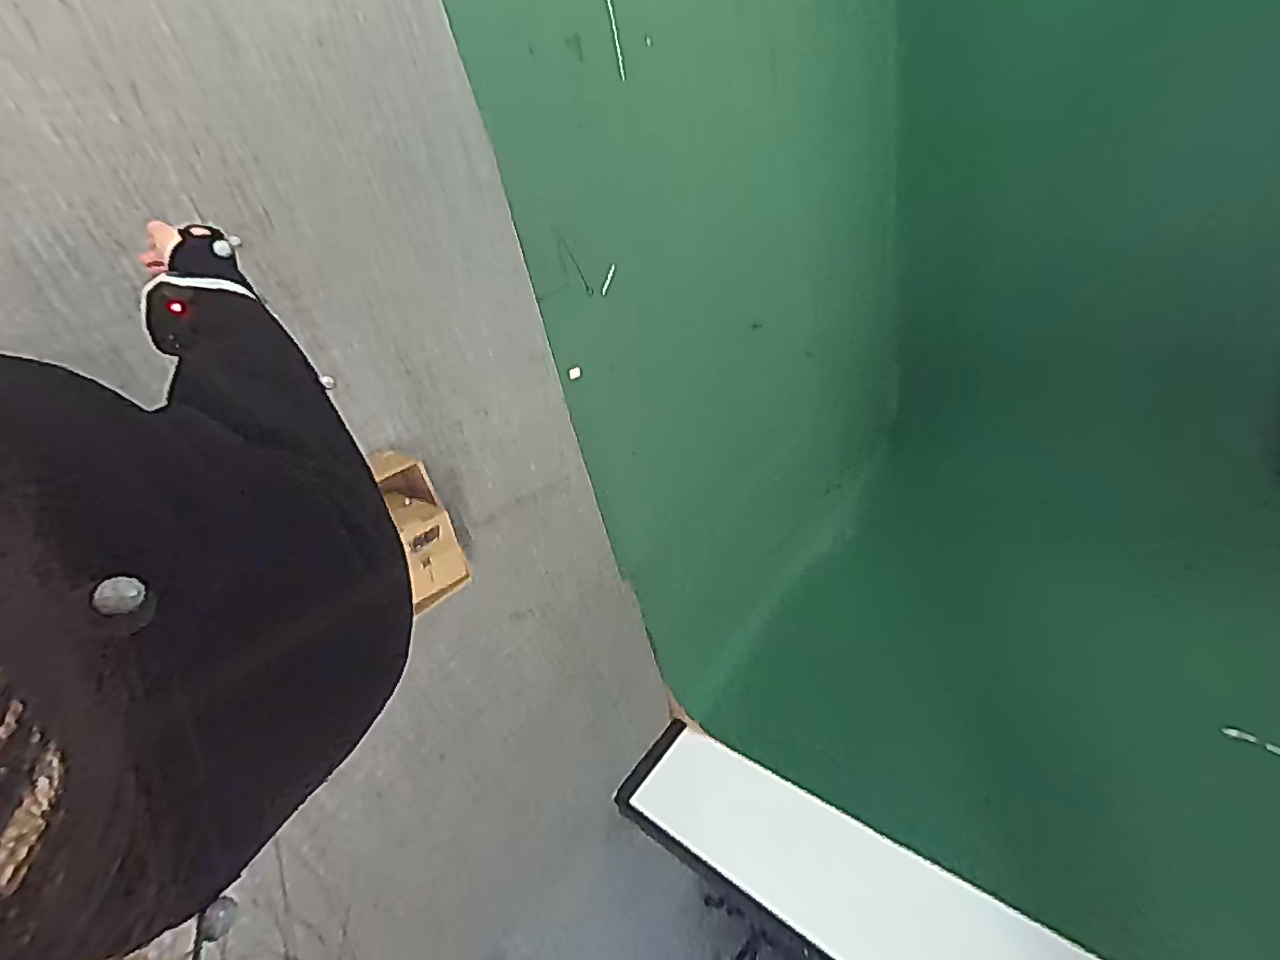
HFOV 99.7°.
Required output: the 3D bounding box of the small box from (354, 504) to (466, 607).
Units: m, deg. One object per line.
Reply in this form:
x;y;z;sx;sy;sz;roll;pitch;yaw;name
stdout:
-0.548;0.167;1.286;0.168;0.176;0.179;-29;120;-39;small box
